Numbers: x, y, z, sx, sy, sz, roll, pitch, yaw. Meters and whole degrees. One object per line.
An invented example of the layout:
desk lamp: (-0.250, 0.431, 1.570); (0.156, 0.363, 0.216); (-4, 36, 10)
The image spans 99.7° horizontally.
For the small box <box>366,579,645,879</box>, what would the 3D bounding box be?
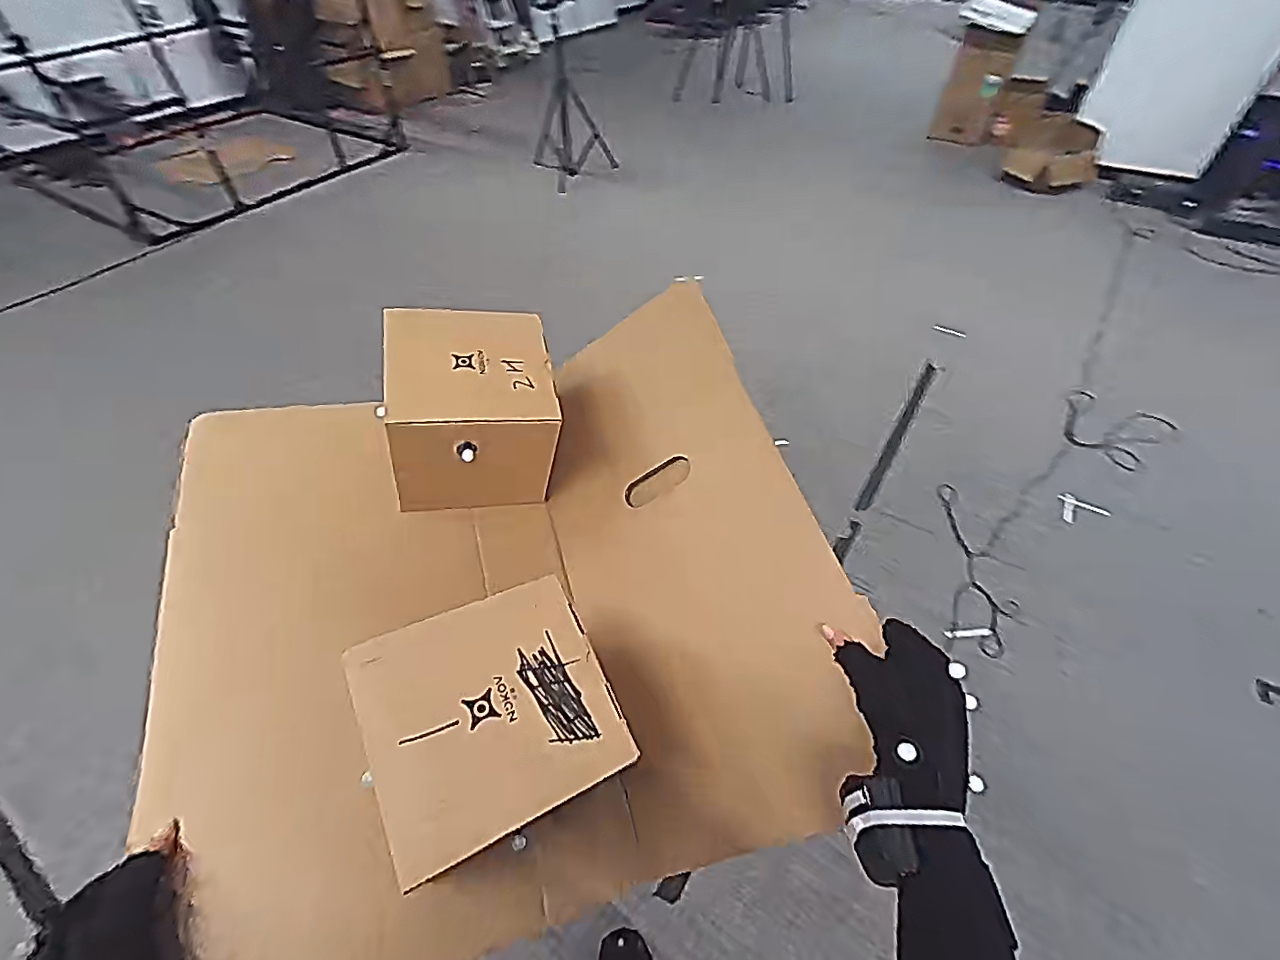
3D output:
small box: (-0.123, 0.215, 0.481); (0.179, 0.176, 0.168); (-15, 62, -25)

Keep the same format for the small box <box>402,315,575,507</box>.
small box: (-0.186, -0.077, 0.662); (0.179, 0.176, 0.168); (-1, 58, -19)
